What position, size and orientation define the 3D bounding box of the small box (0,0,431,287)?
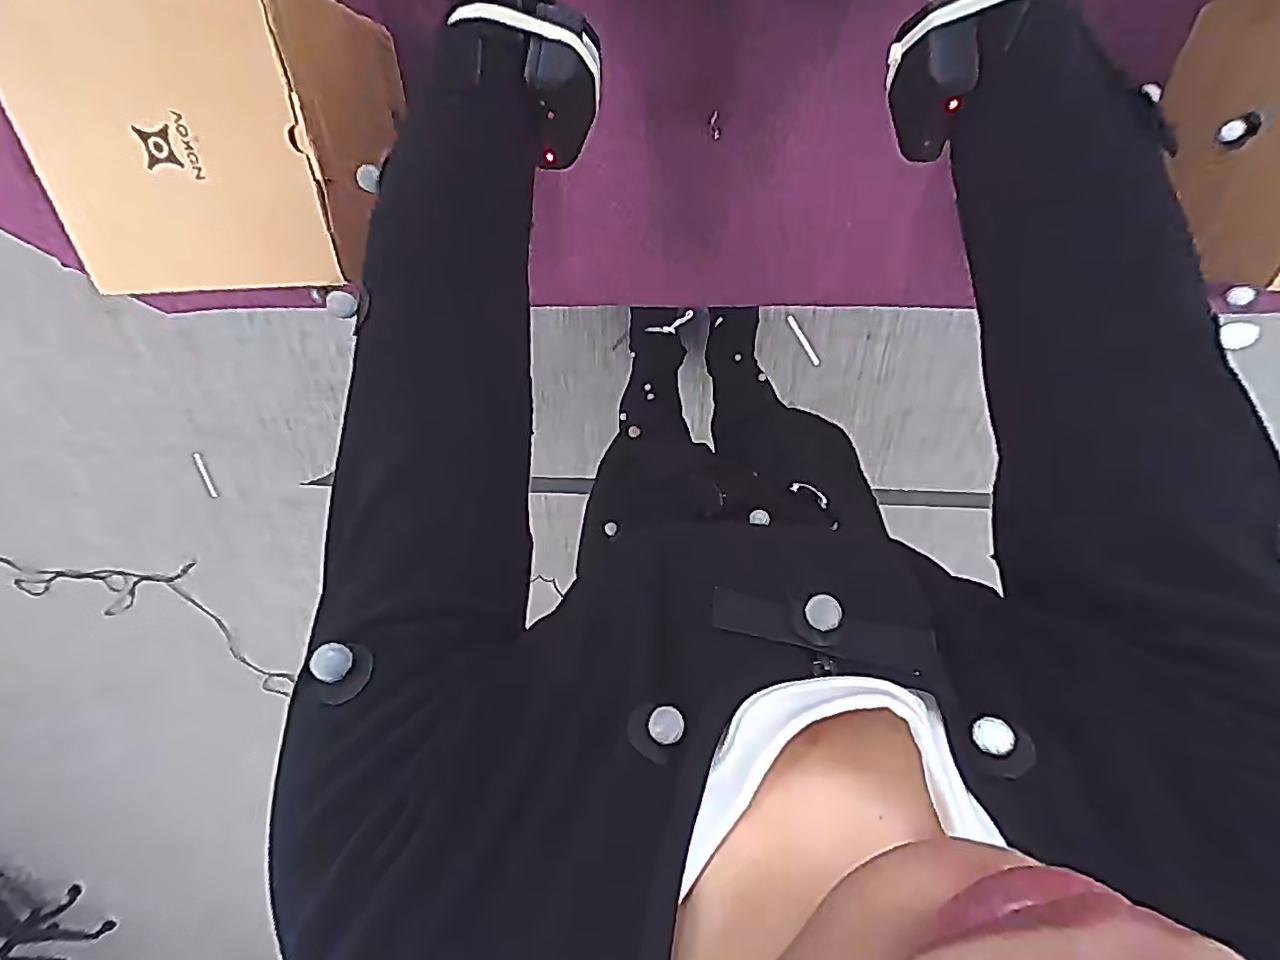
[{"bbox_3d":[-0.283,-0.242,0.396,0.179,0.176,0.168,-3,119,3],"label":"small box"}]
